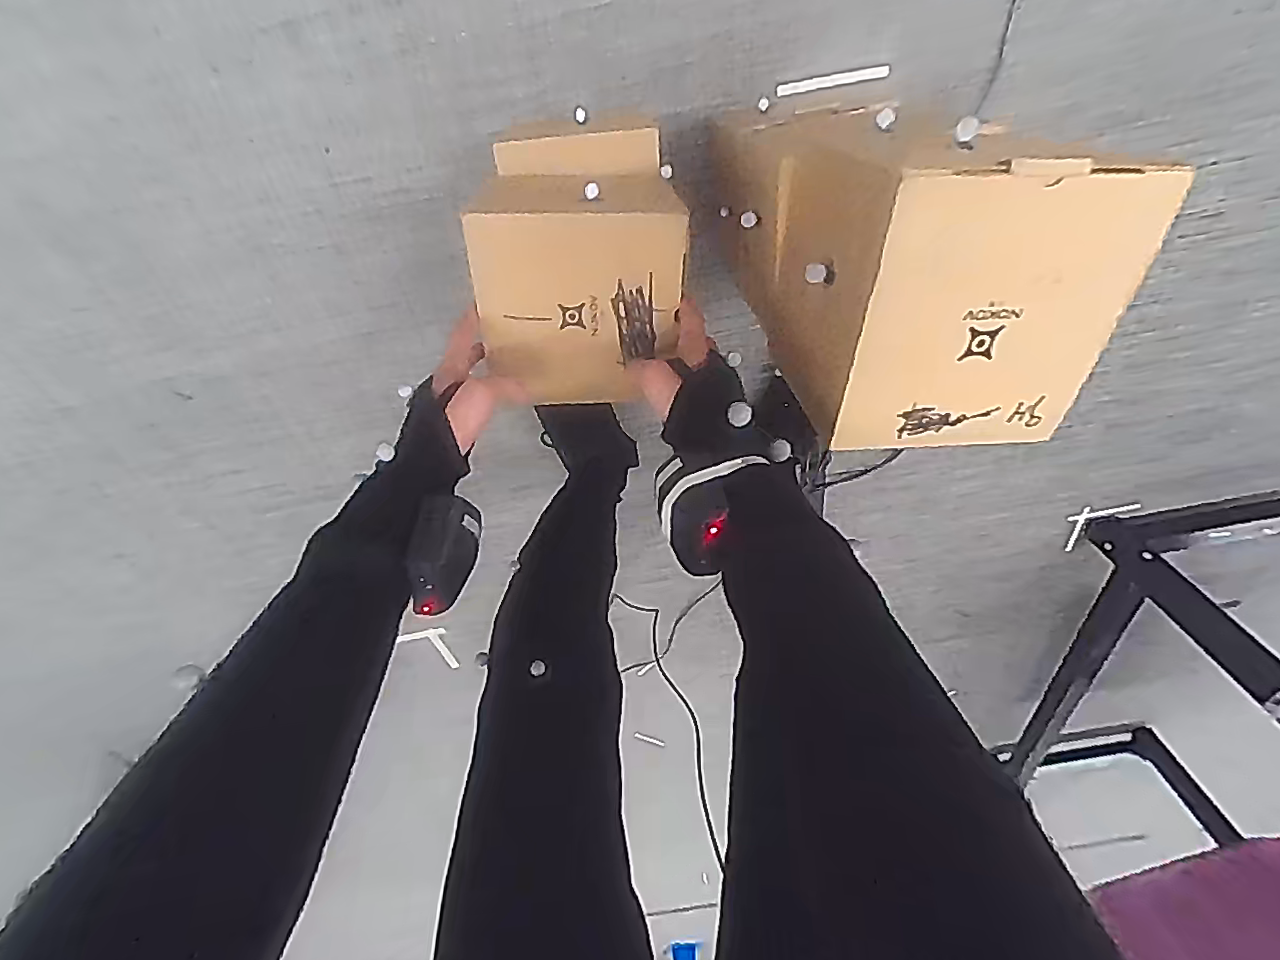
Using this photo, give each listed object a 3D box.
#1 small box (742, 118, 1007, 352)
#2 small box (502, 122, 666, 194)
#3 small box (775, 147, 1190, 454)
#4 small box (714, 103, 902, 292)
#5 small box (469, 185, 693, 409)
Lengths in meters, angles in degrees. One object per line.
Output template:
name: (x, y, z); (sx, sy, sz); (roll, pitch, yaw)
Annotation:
small box: (0.199, -0.240, 0.526); (0.179, 0.176, 0.168); (-8, 128, 1)
small box: (-0.059, -0.317, 0.645); (0.168, 0.176, 0.179); (-5, 128, -1)
small box: (0.209, -0.138, 0.398); (0.168, 0.176, 0.179); (-2, 127, -3)
small box: (0.187, -0.340, 0.653); (0.168, 0.176, 0.179); (-9, 128, 2)
small box: (-0.052, -0.182, 0.524); (0.179, 0.176, 0.168); (-2, 127, -3)
